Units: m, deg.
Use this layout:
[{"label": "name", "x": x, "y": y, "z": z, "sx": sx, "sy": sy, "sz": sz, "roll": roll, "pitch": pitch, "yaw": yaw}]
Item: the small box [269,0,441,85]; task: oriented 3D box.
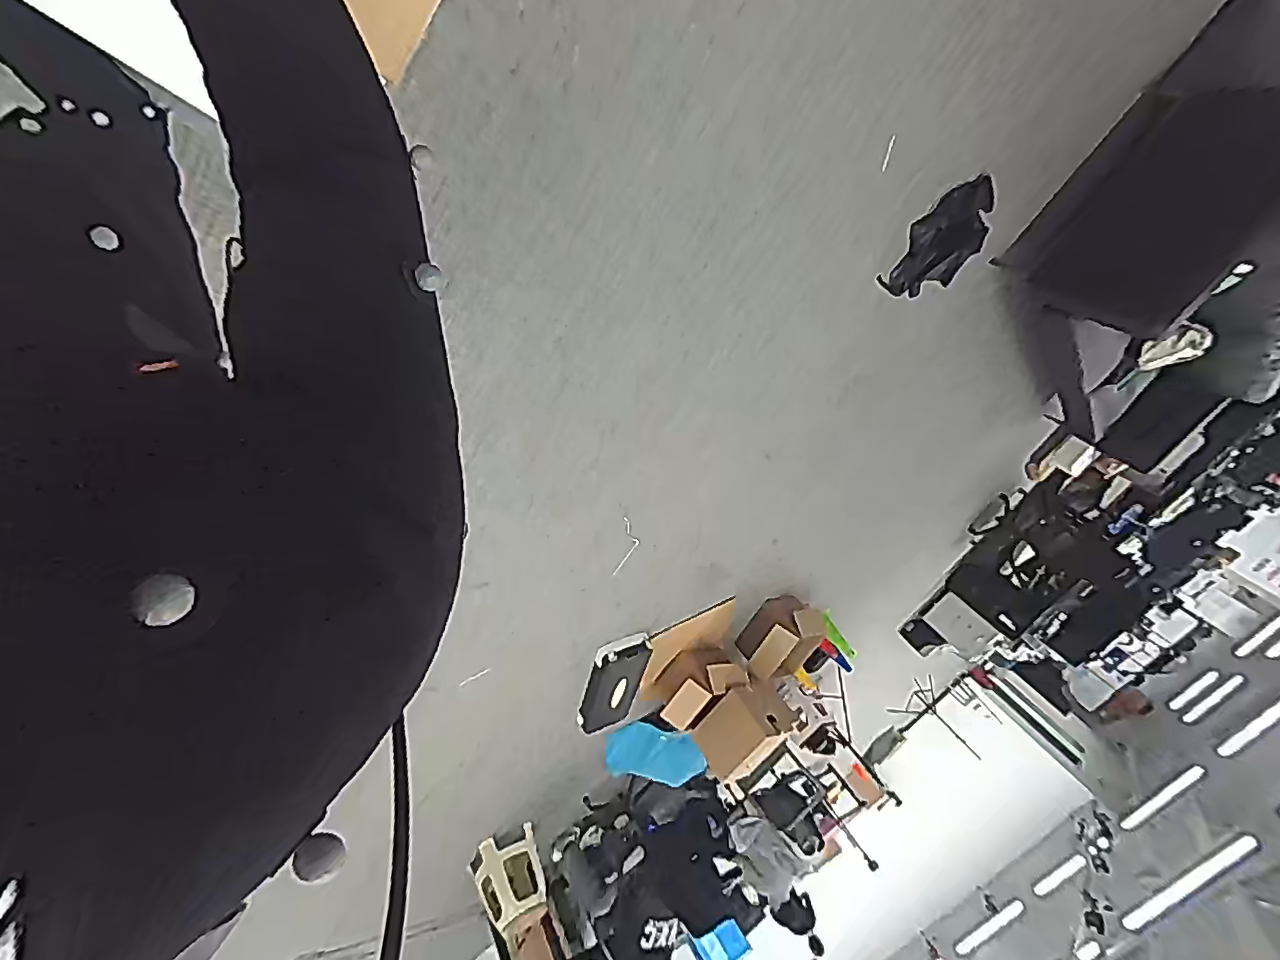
[{"label": "small box", "x": -0.232, "y": -0.423, "z": 0.375, "sx": 0.179, "sy": 0.176, "sz": 0.168, "roll": 20, "pitch": 113, "yaw": -47}]
